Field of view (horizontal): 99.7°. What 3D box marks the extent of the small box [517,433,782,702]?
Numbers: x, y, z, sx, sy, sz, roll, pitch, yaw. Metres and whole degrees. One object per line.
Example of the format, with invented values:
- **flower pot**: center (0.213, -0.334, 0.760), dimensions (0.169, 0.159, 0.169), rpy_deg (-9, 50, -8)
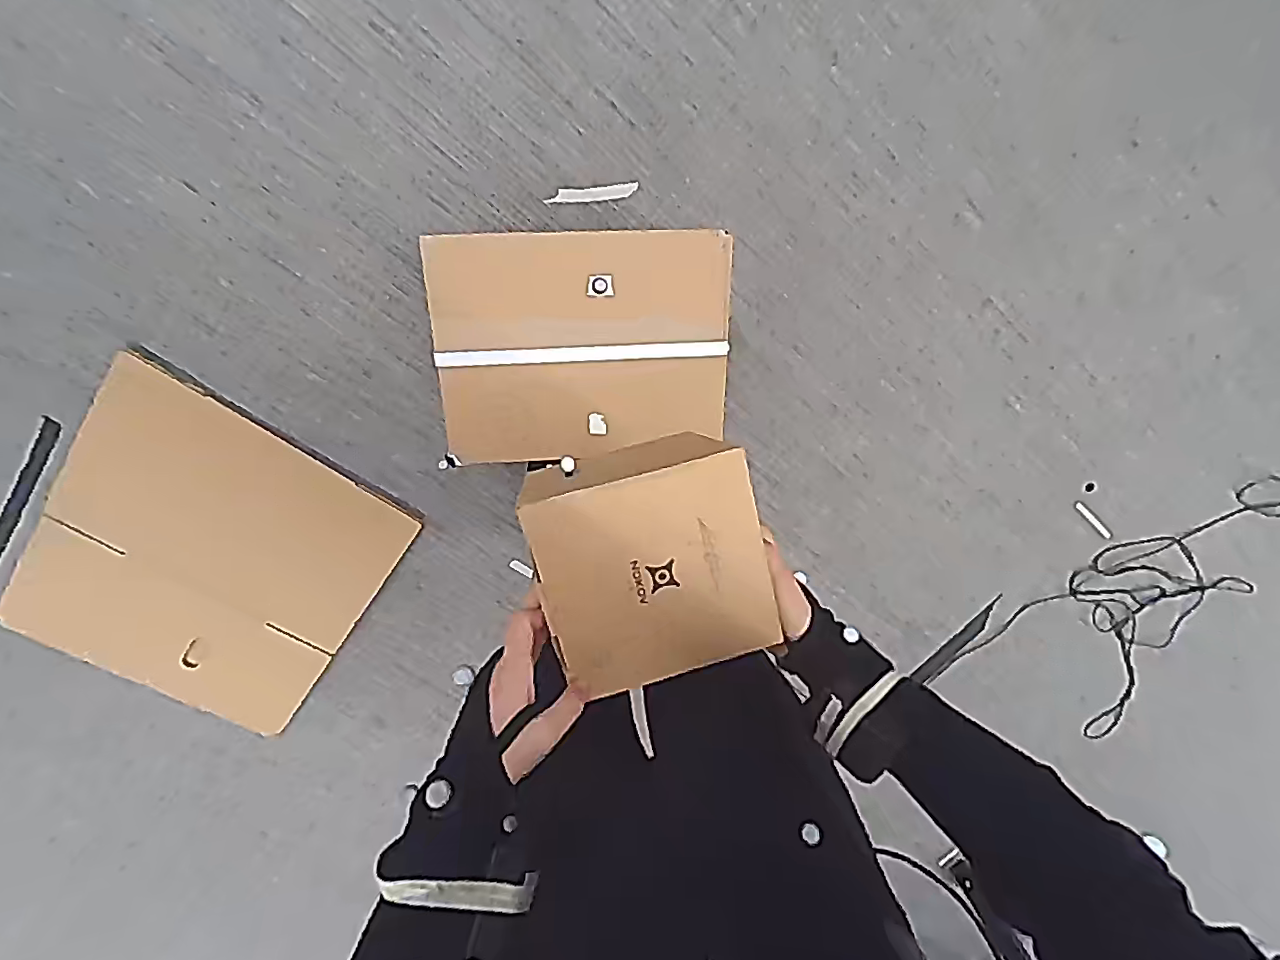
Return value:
- **small box**: center (0.001, 0.061, 0.489), dimensions (0.179, 0.176, 0.168), rpy_deg (-16, 102, -7)
